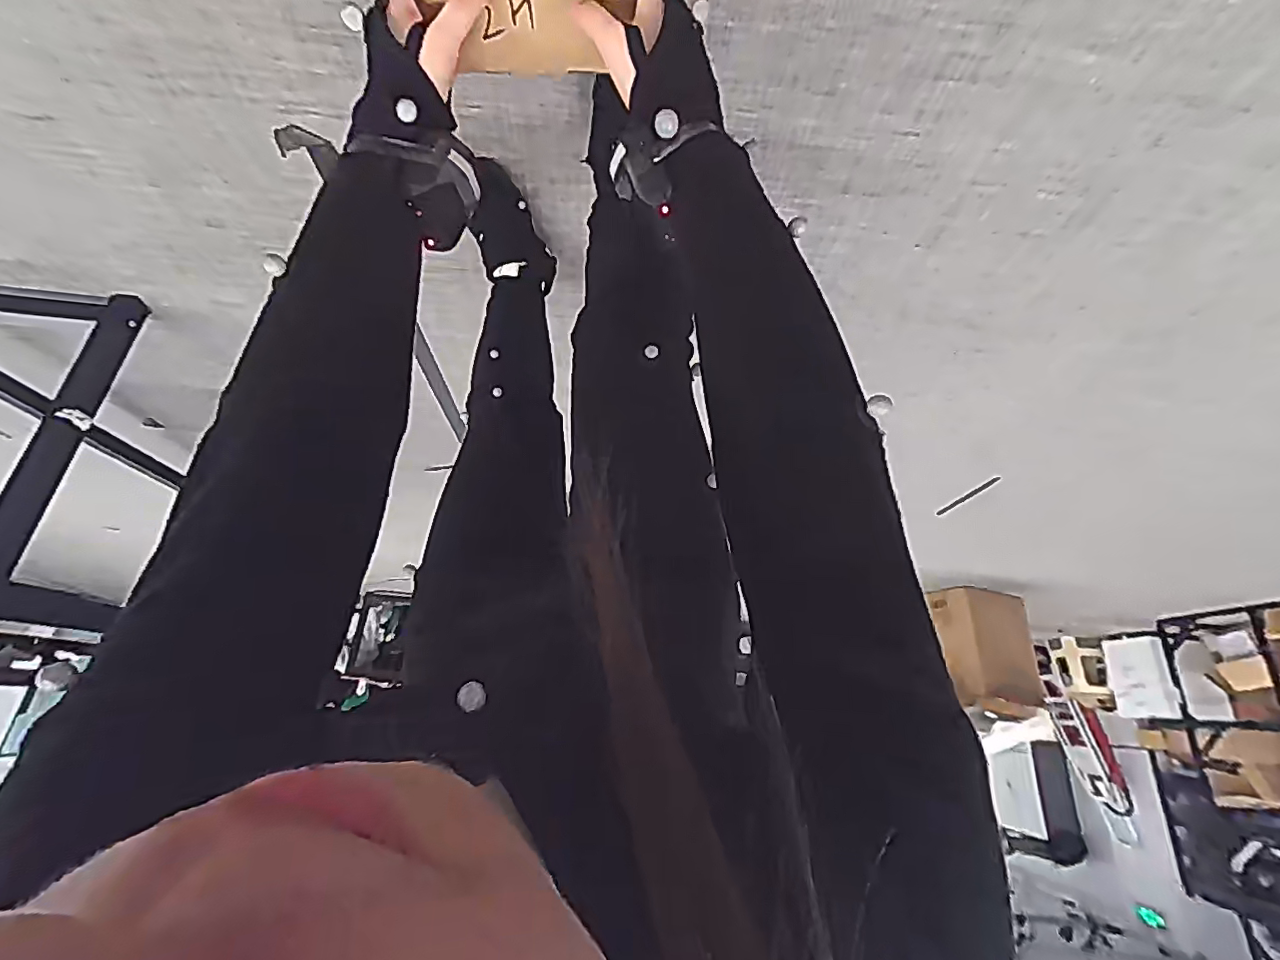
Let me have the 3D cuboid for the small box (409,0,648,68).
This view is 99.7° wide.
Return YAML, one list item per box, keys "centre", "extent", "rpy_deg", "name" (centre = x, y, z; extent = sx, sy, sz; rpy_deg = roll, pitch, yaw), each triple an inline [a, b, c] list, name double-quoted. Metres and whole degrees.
- centre: [-0.075, -0.423, 0.363]
  extent: [0.168, 0.176, 0.179]
  rpy_deg: [3, 157, 2]
  name: "small box"
